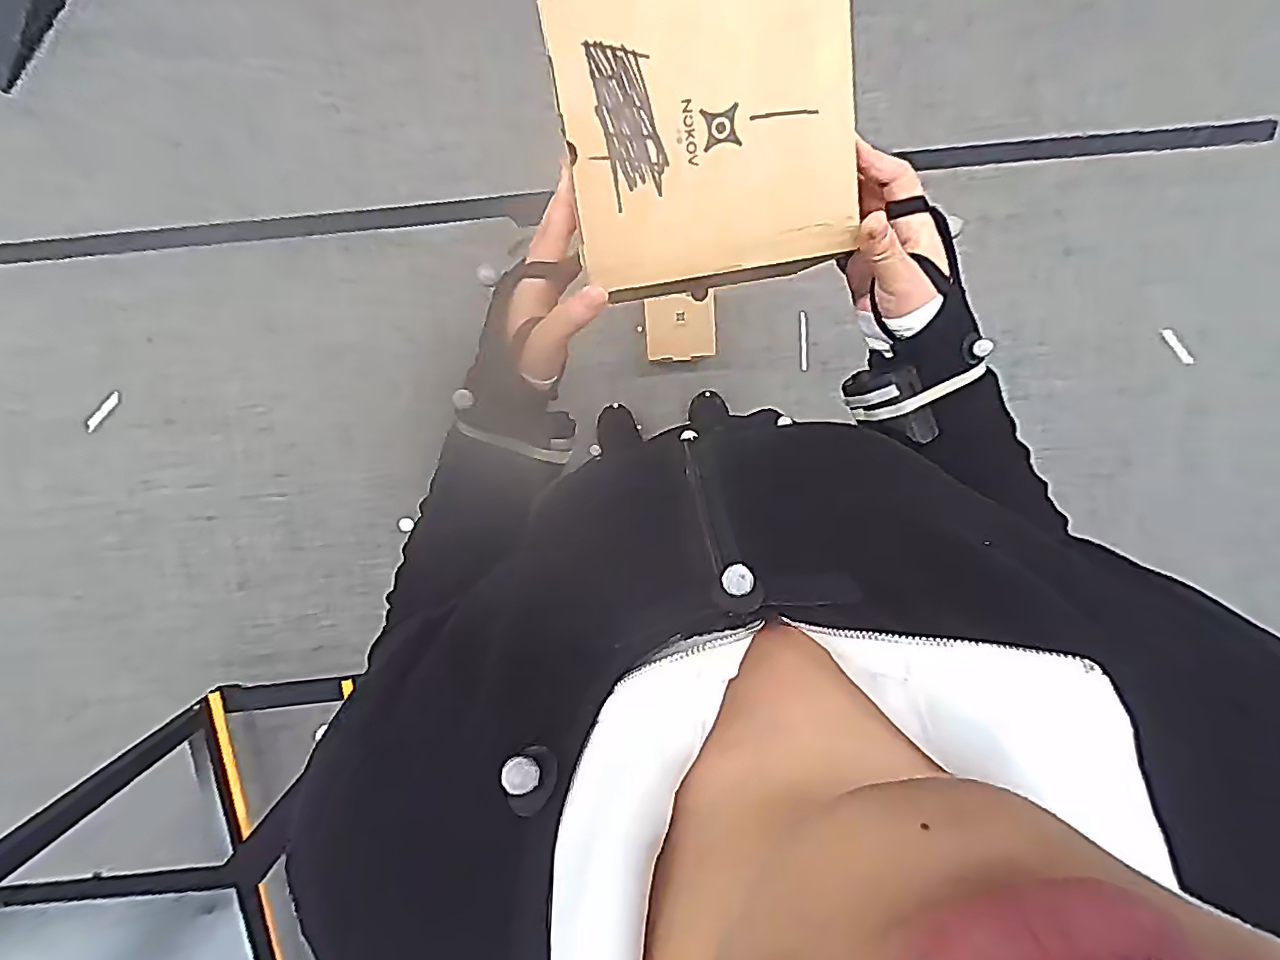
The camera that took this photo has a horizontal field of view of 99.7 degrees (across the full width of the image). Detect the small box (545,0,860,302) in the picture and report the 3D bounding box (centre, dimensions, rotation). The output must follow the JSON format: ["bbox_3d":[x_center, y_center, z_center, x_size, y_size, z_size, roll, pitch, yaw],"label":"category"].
[{"bbox_3d":[0.045,-0.230,0.401,0.179,0.176,0.168,-8,106,4],"label":"small box"}]

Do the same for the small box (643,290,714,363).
[{"bbox_3d":[0.093,-0.387,1.354,0.168,0.176,0.179,-3,101,0],"label":"small box"}]
